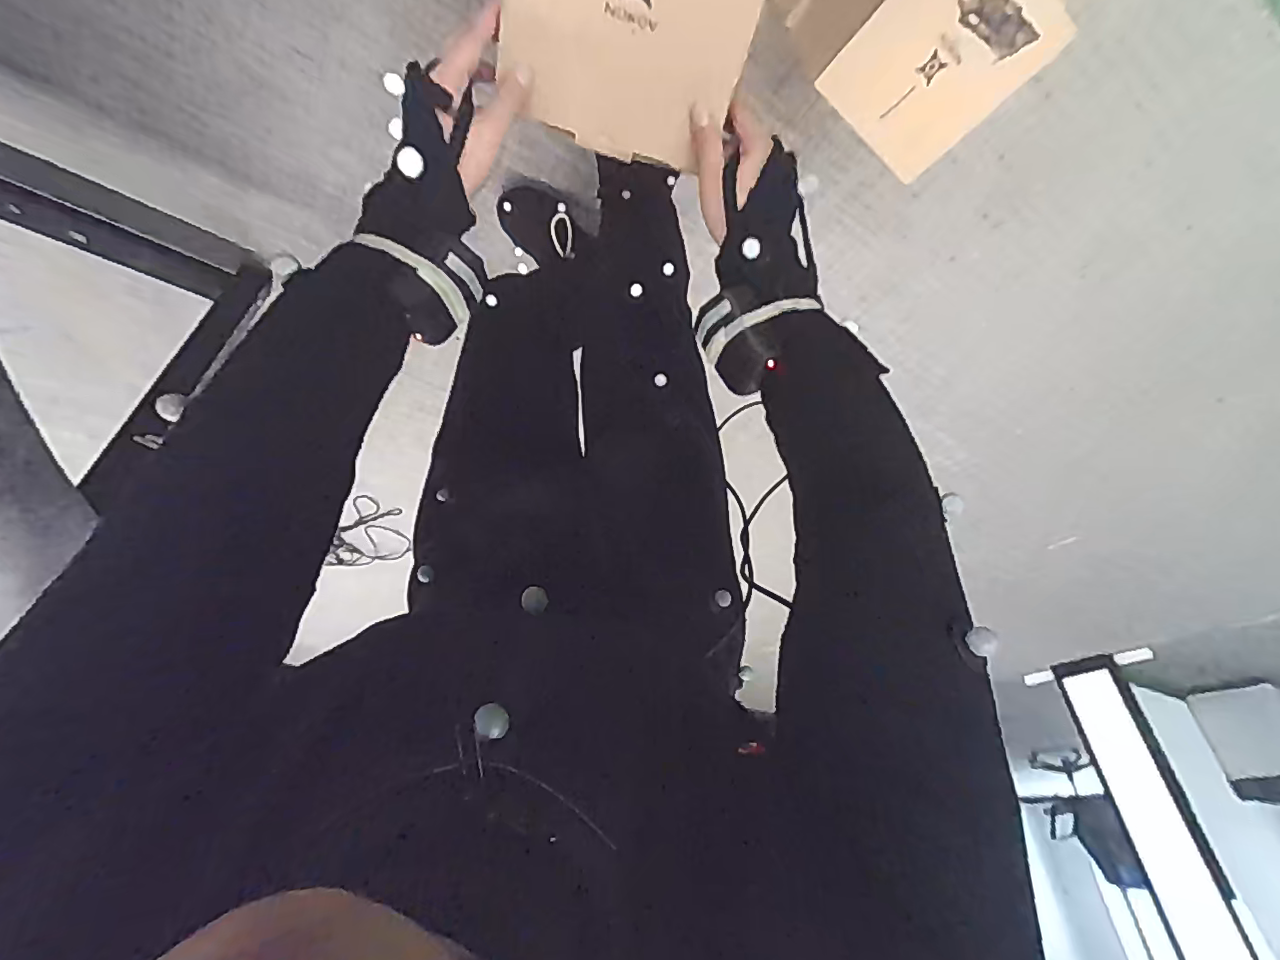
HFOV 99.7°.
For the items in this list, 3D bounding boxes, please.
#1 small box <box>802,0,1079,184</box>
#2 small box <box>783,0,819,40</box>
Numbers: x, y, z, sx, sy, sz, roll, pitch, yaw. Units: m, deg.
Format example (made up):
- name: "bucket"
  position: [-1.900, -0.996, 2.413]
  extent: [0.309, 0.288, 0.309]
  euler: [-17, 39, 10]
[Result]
- name: "small box"
  position: [0.293, -0.468, 0.564]
  extent: [0.168, 0.176, 0.179]
  euler: [25, 138, -28]
- name: "small box"
  position: [0.290, -0.604, 0.656]
  extent: [0.168, 0.176, 0.179]
  euler: [25, 139, -28]
